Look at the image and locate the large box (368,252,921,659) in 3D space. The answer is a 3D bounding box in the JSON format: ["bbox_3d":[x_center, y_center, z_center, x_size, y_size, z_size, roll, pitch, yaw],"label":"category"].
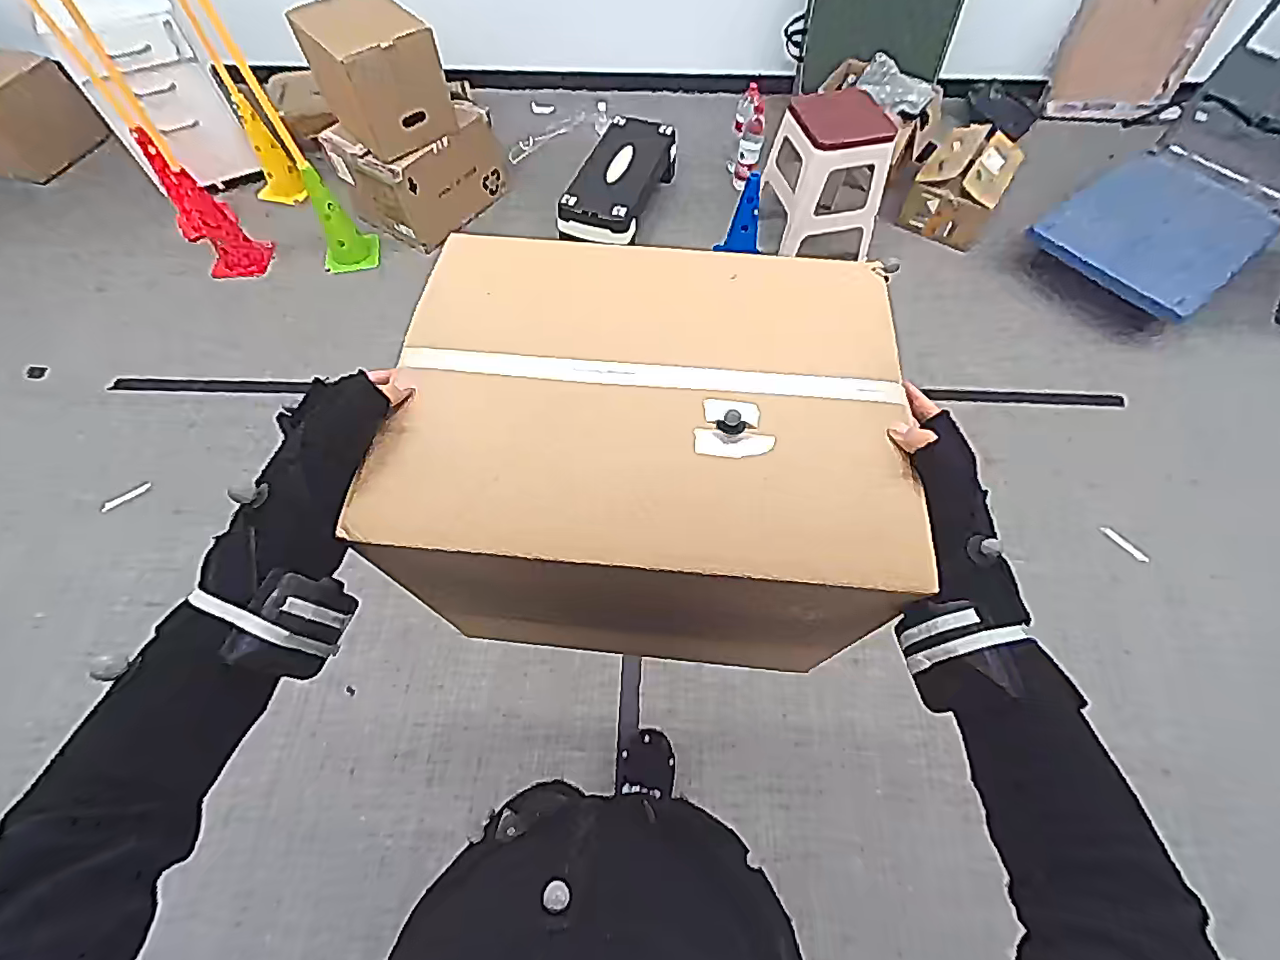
[{"bbox_3d":[0.009,-0.007,0.583,0.408,0.320,0.320,5,62,2],"label":"large box"}]
